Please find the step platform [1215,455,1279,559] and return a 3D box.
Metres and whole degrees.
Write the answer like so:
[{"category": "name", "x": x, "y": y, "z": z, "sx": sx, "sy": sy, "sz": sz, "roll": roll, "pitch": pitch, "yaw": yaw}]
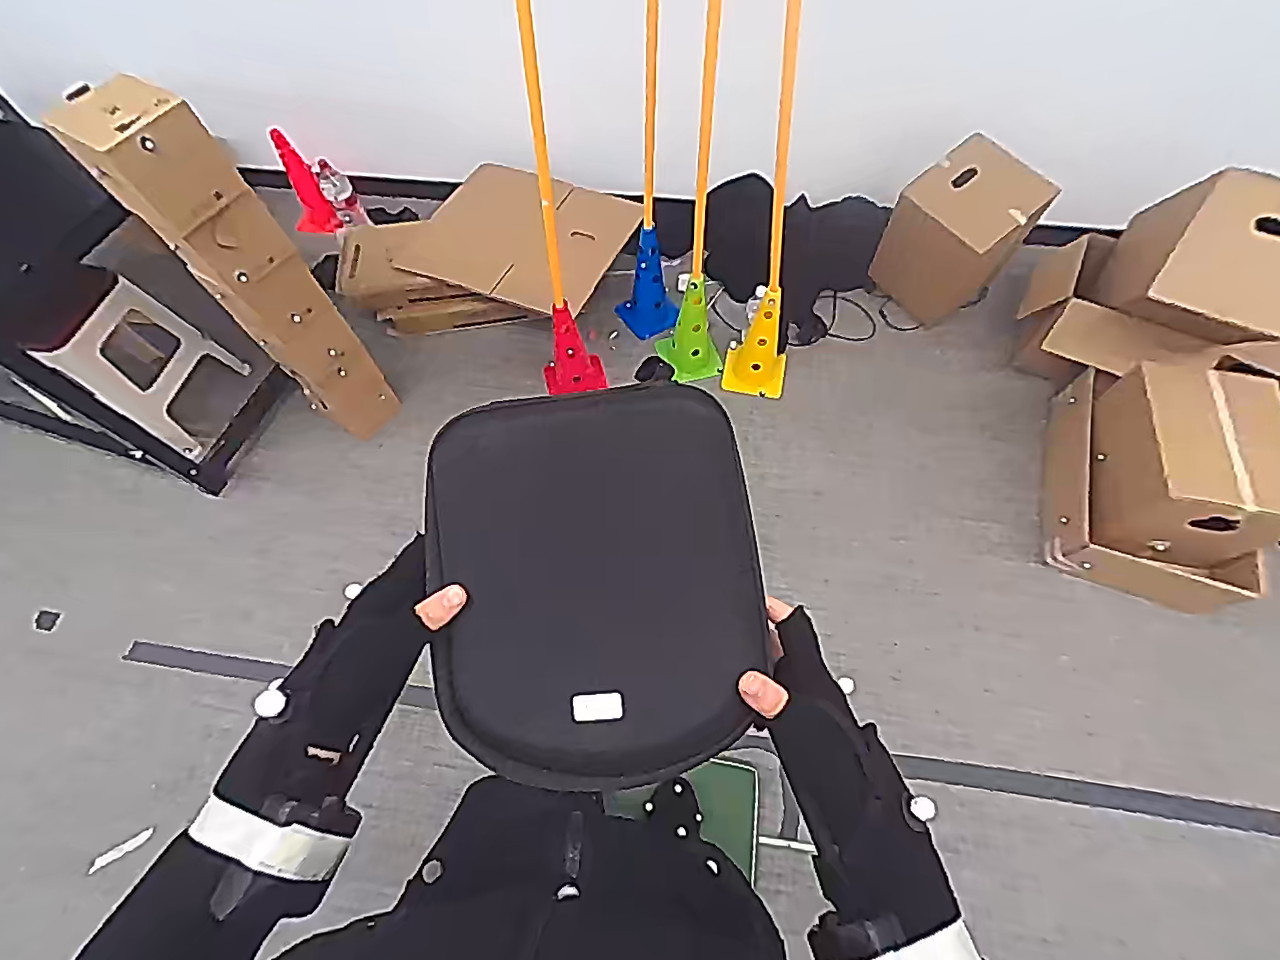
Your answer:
[{"category": "step platform", "x": 2.055, "y": -0.007, "z": 1.520, "sx": 0.684, "sy": 0.204, "sz": 0.286, "roll": -19, "pitch": 64, "yaw": -8}]
